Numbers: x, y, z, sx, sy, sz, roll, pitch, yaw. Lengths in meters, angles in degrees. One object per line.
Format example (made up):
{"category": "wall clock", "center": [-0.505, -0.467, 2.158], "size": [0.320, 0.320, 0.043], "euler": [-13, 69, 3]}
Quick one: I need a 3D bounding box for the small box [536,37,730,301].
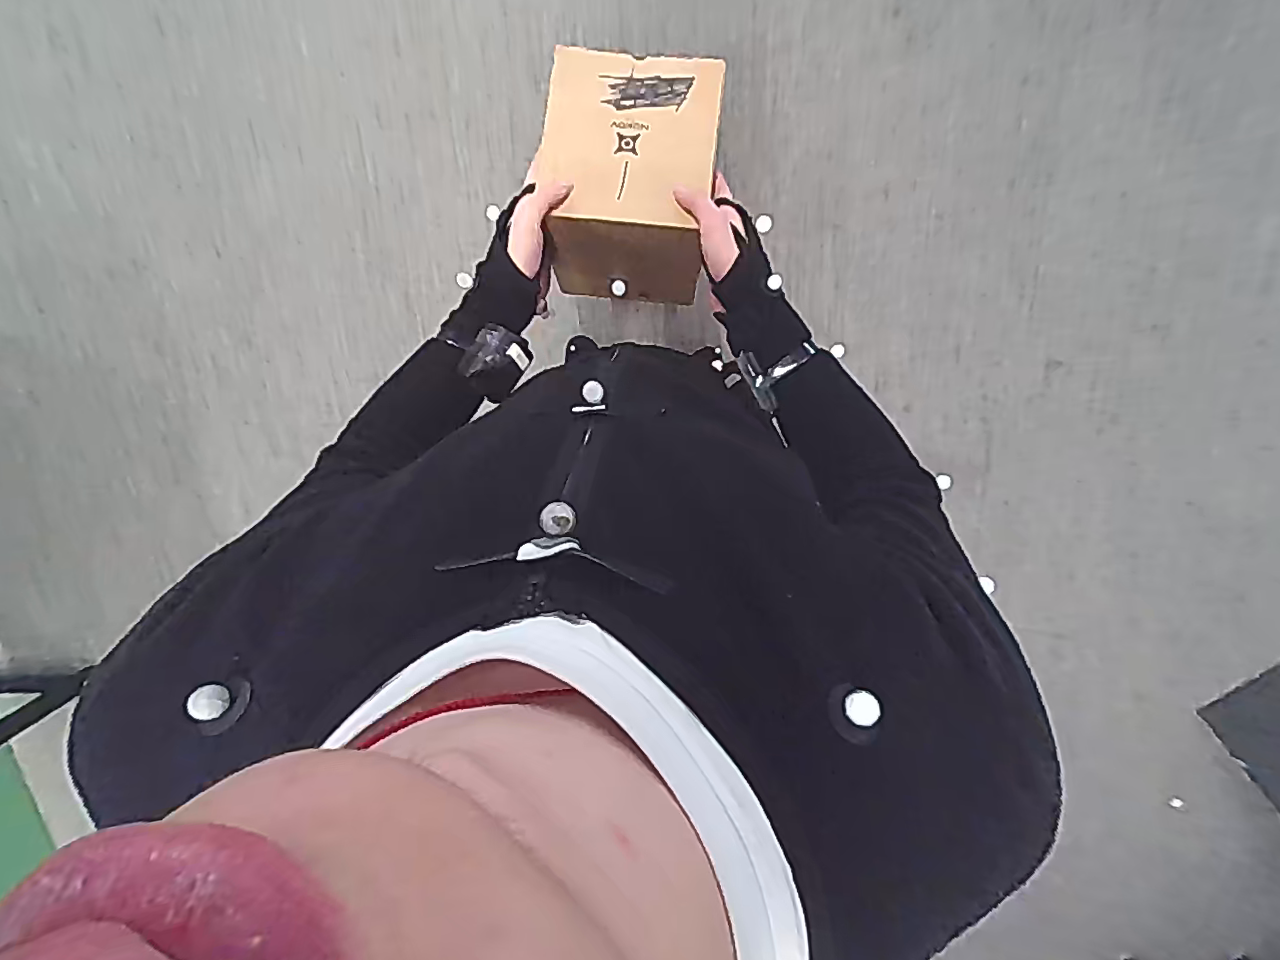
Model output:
{"category": "small box", "center": [-0.004, -0.319, 0.584], "size": [0.168, 0.176, 0.179], "euler": [6, 83, 3]}
